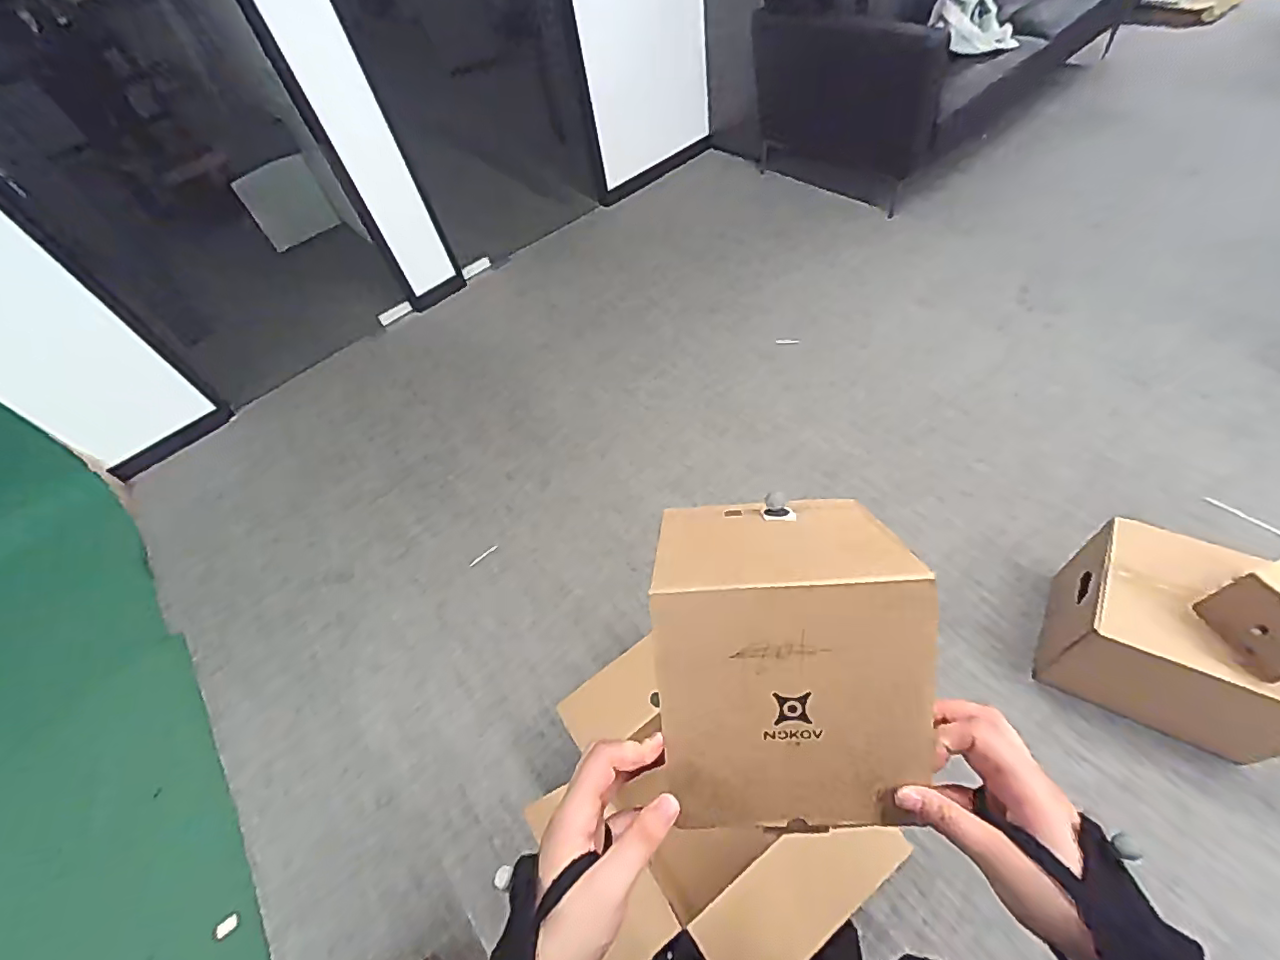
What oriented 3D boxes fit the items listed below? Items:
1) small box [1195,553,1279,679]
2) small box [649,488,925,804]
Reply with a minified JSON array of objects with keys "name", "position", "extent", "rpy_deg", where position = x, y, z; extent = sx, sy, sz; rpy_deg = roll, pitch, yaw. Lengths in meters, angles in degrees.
[{"name":"small box","position":[1.184,0.238,0.982],"extent":[0.179,0.176,0.168],"rpy_deg":[-21,53,-3]},{"name":"small box","position":[0.102,0.116,0.423],"extent":[0.168,0.179,0.176],"rpy_deg":[-5,14,6]}]
